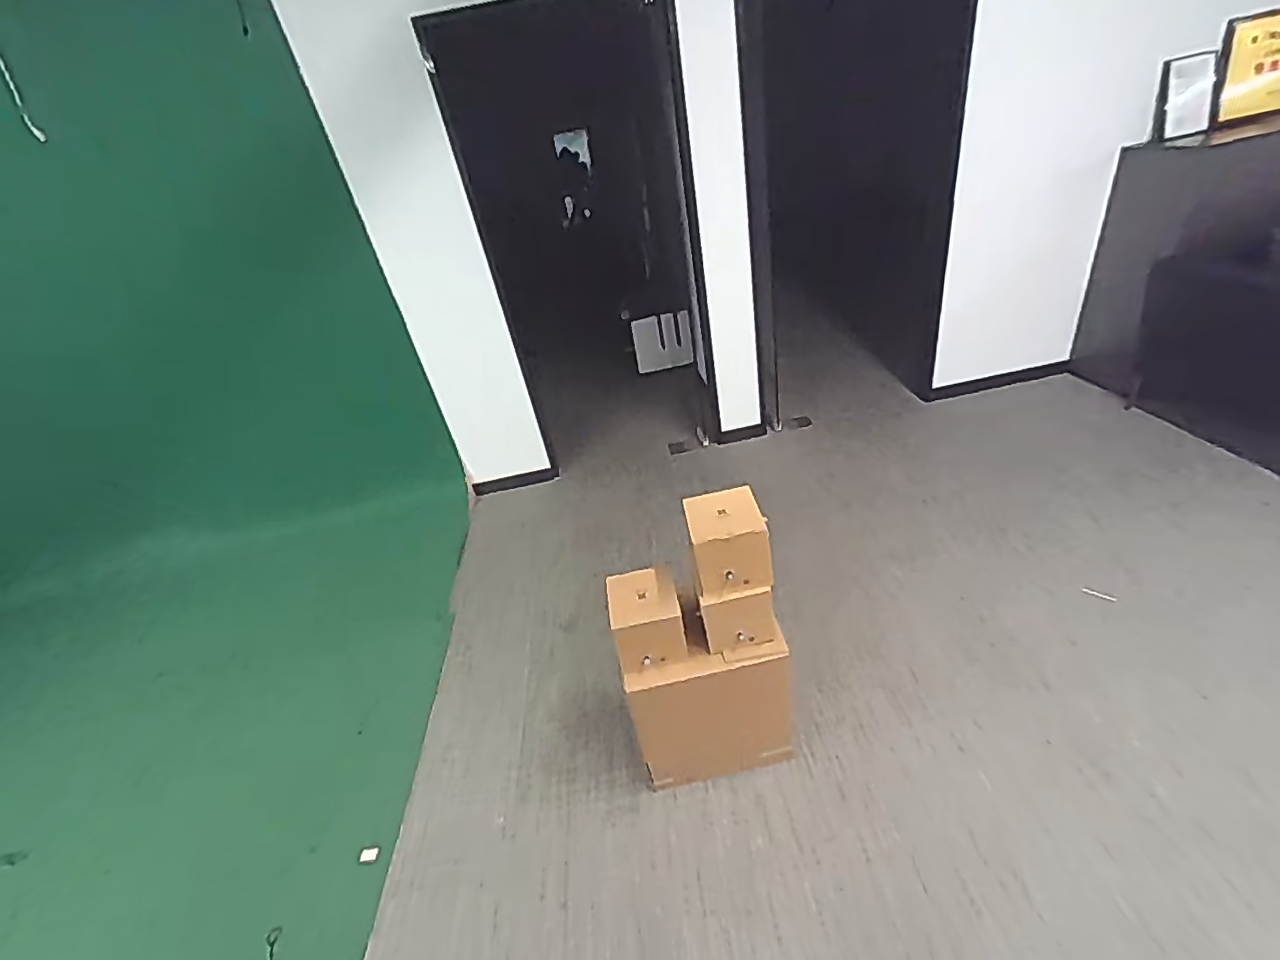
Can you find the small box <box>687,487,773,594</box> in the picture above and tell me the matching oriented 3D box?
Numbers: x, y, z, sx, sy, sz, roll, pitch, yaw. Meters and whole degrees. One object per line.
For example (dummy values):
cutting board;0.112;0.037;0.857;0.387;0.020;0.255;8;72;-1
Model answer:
small box;0.211;0.142;1.283;0.168;0.176;0.179;-11;32;3
